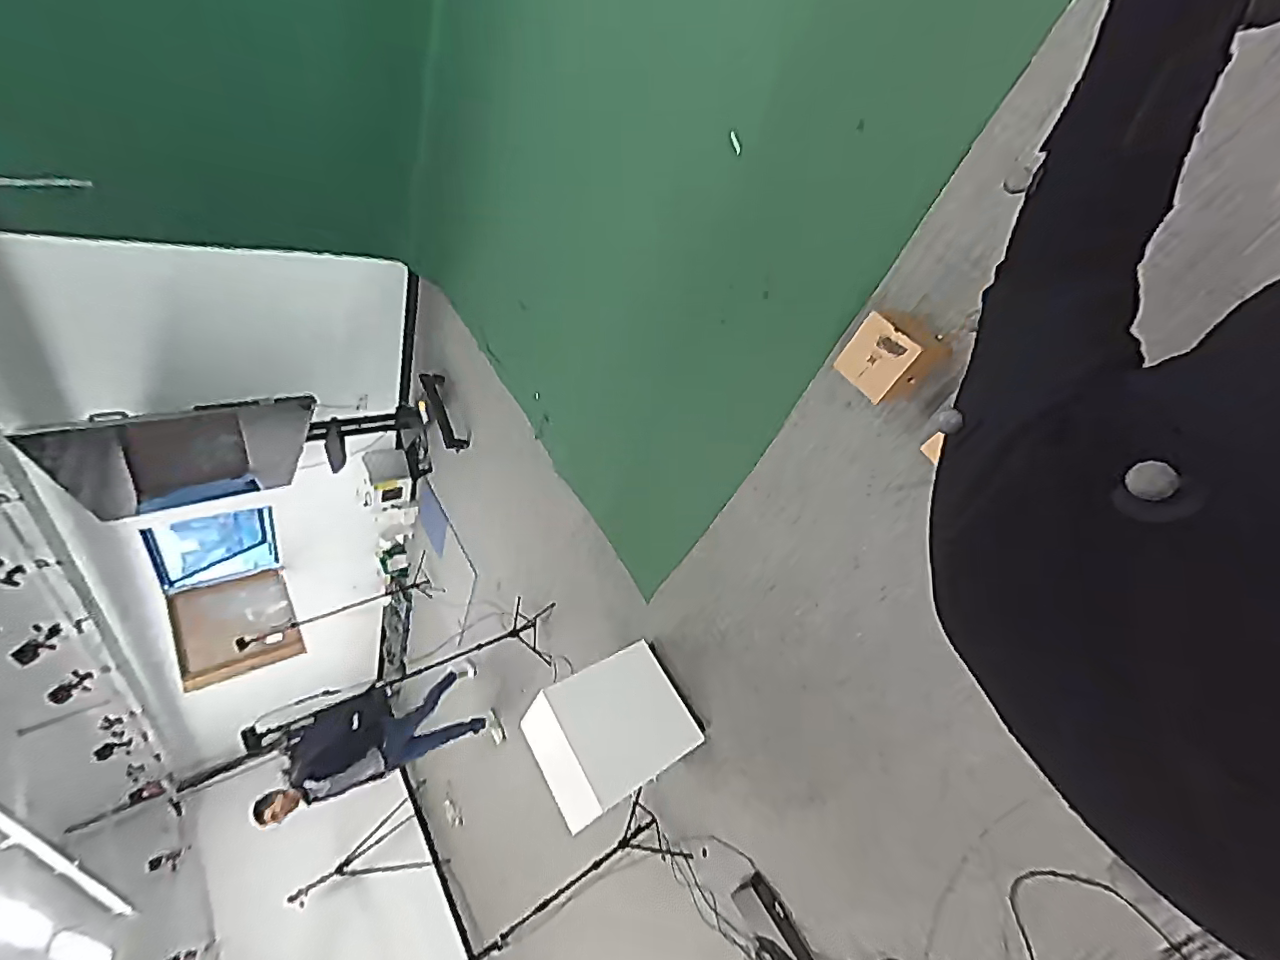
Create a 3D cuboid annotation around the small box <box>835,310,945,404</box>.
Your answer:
[{"bbox_3d":[0.656,-0.323,1.406,0.168,0.176,0.179,53,137,26],"label":"small box"}]
